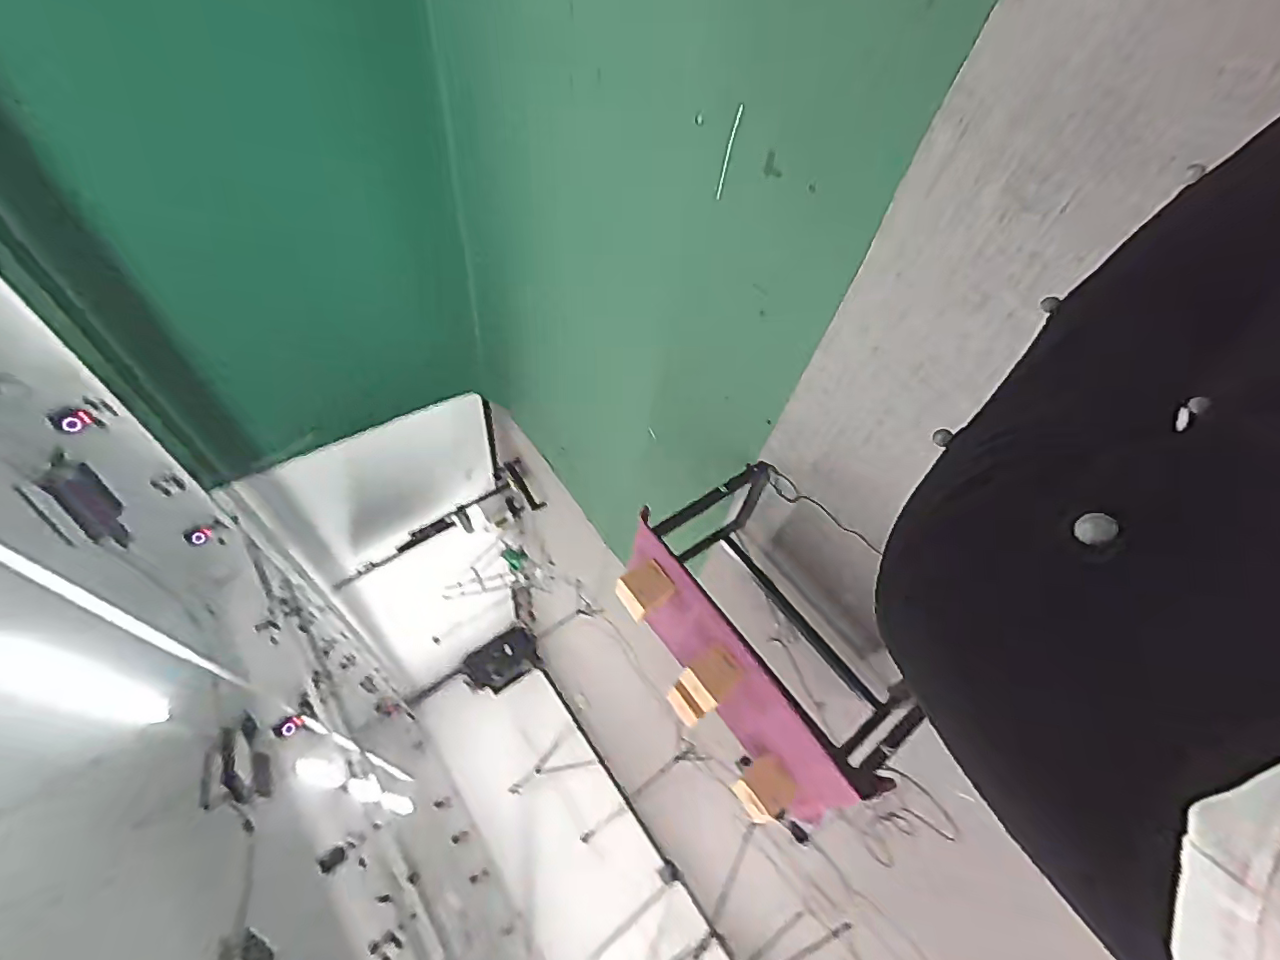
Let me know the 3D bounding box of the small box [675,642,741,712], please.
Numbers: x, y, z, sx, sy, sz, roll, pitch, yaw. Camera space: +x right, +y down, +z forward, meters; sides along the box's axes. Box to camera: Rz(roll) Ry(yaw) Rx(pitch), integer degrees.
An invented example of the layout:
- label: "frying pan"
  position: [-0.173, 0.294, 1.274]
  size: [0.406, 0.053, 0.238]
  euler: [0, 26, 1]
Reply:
- label: "small box"
  position: [0.259, 0.750, 2.057]
  size: [0.168, 0.176, 0.179]
  euler: [49, 152, 21]

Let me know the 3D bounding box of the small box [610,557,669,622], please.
- label: "small box"
  position: [-0.002, 0.446, 2.214]
  size: [0.168, 0.176, 0.179]
  euler: [49, 154, 19]

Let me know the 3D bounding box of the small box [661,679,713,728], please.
- label: "small box"
  position: [0.216, 0.916, 2.300]
  size: [0.168, 0.176, 0.179]
  euler: [49, 150, 24]
